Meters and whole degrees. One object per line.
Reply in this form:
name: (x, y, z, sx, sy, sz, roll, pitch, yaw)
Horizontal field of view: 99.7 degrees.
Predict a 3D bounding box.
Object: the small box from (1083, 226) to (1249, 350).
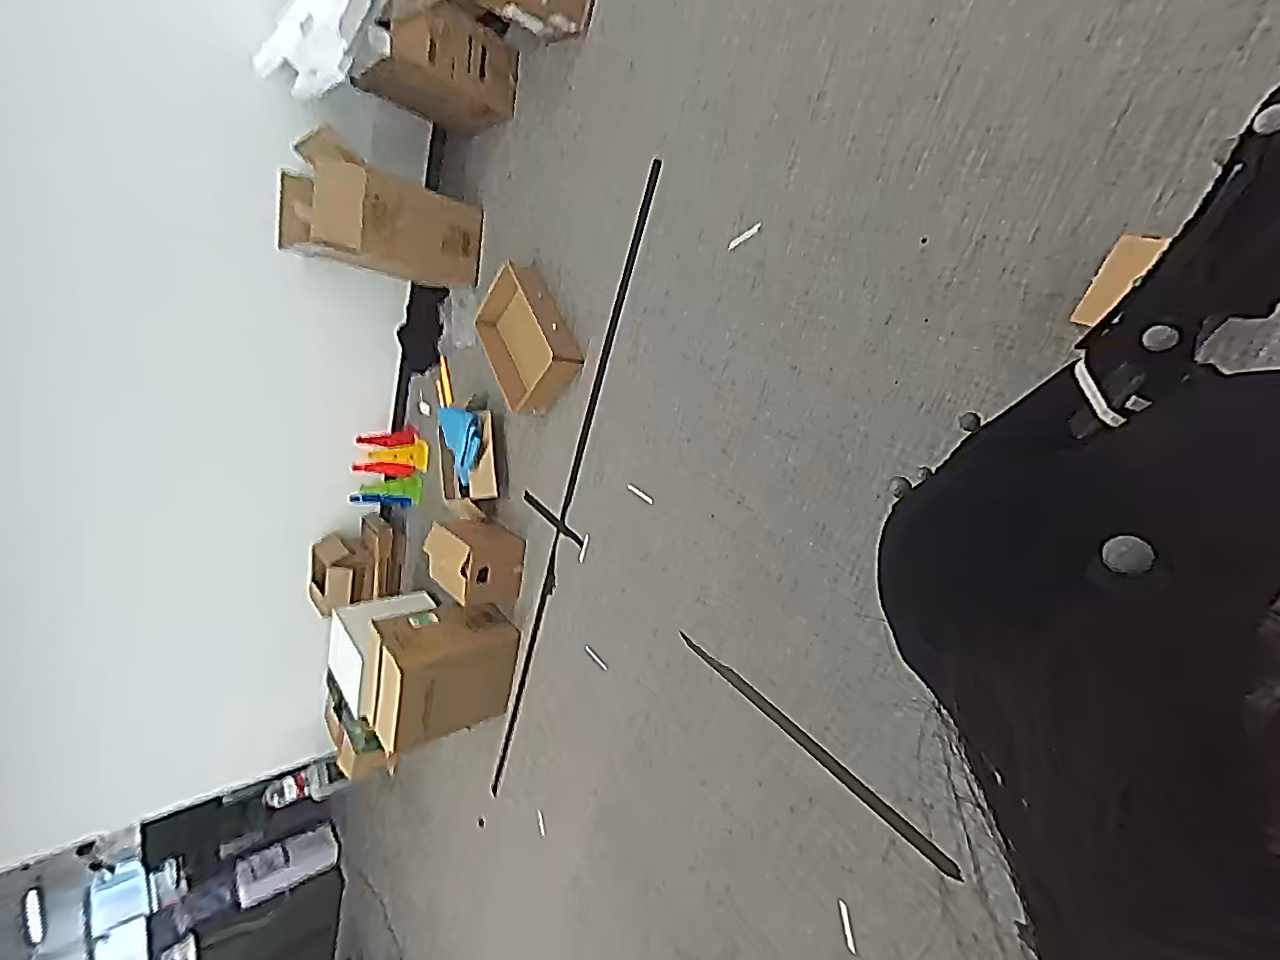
small box: (1.013, -0.368, 1.051, 0.168, 0.176, 0.179, 37, 119, 40)
